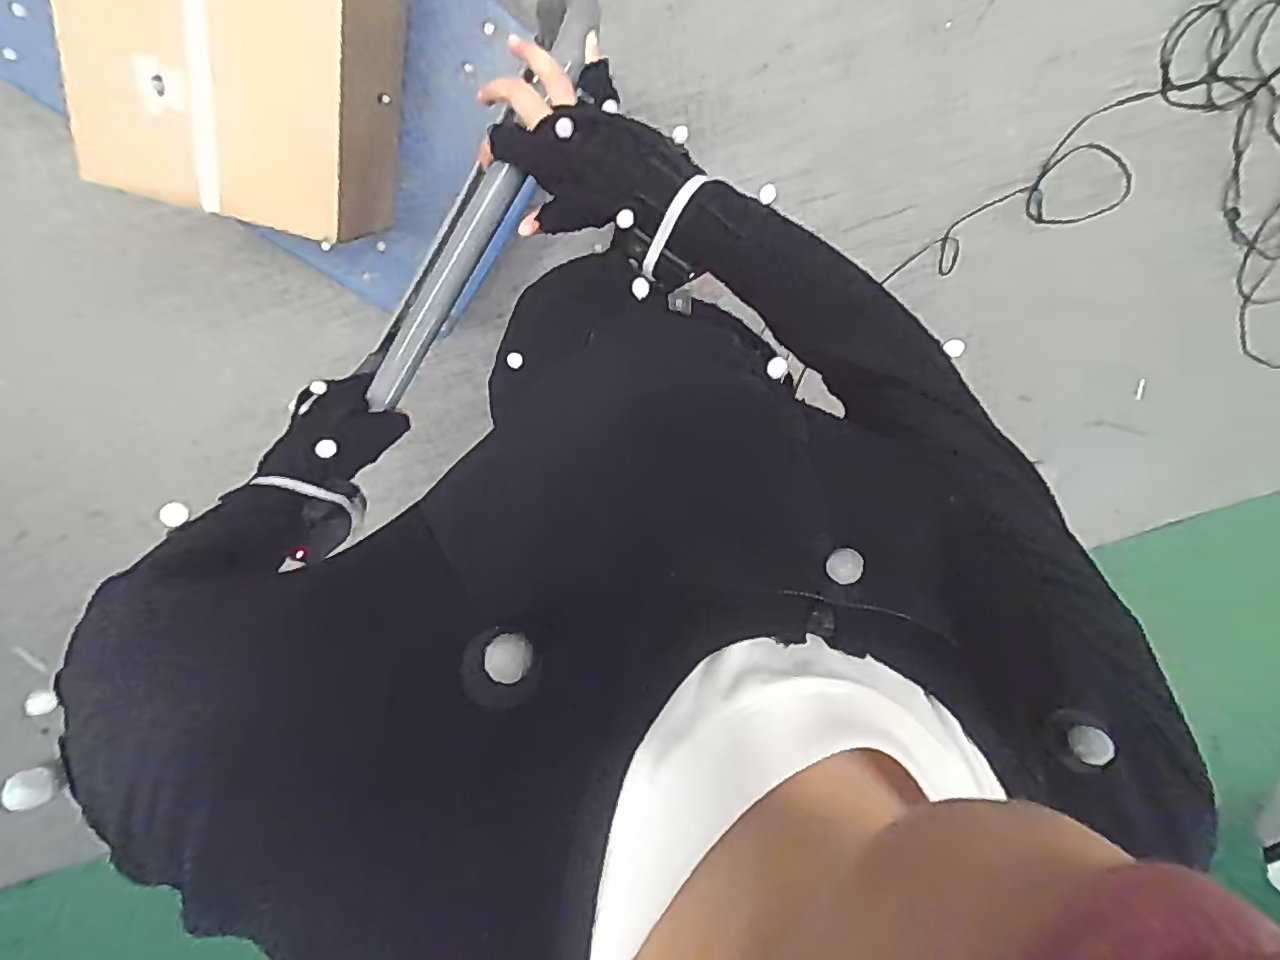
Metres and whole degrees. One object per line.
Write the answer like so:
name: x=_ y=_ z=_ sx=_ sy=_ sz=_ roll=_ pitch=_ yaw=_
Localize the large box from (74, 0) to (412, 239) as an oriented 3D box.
large box: x=-0.537 y=-0.622 z=0.795 sx=0.320 sy=0.320 sz=0.408 roll=11 pitch=118 yaw=-13
